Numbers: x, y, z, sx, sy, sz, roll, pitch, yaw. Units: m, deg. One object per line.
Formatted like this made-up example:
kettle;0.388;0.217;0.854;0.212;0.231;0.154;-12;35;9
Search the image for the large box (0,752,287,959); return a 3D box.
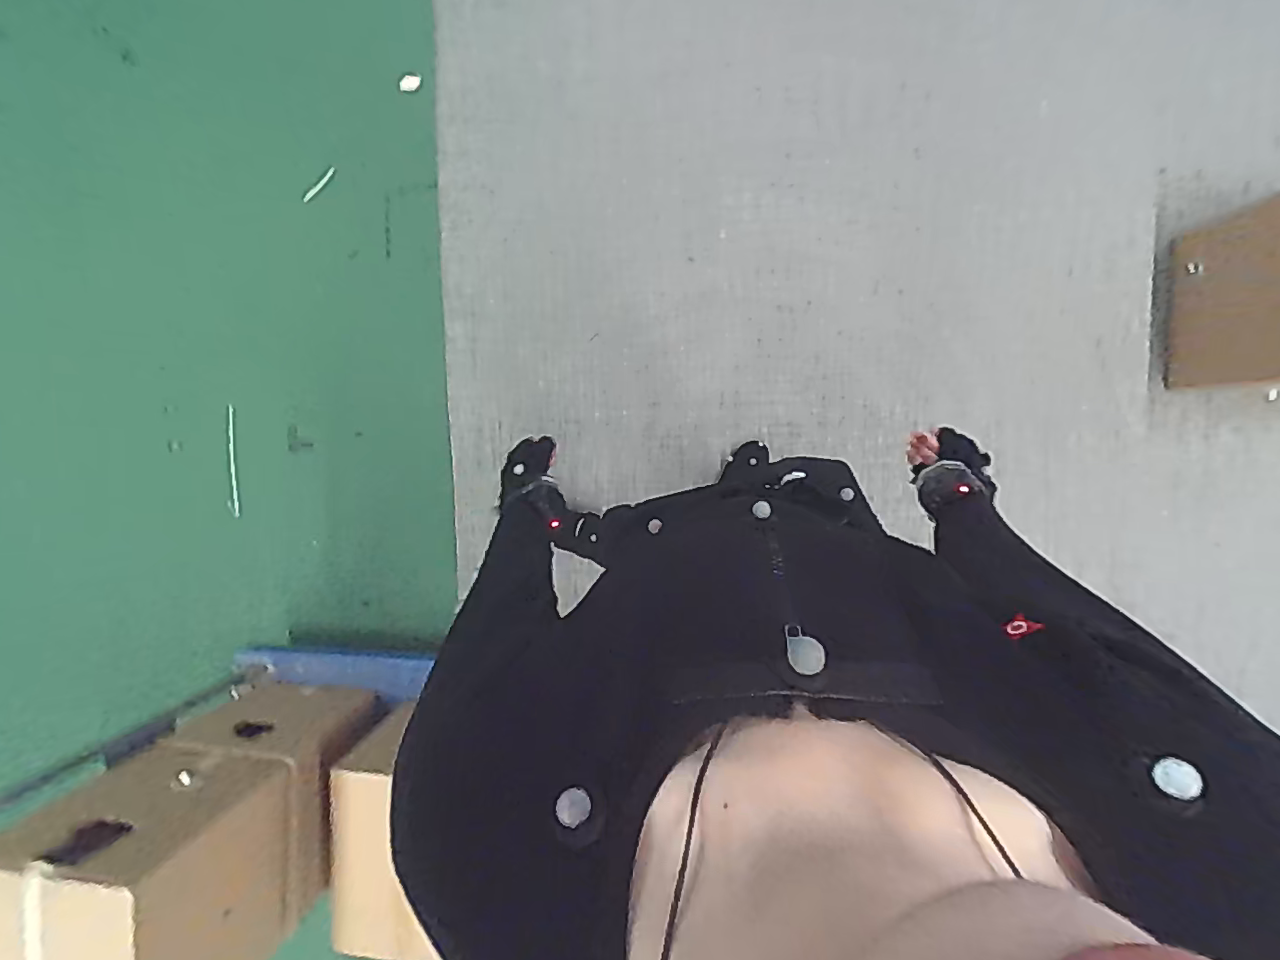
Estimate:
large box;-0.885;0.771;0.969;0.320;0.320;0.408;5;95;6
